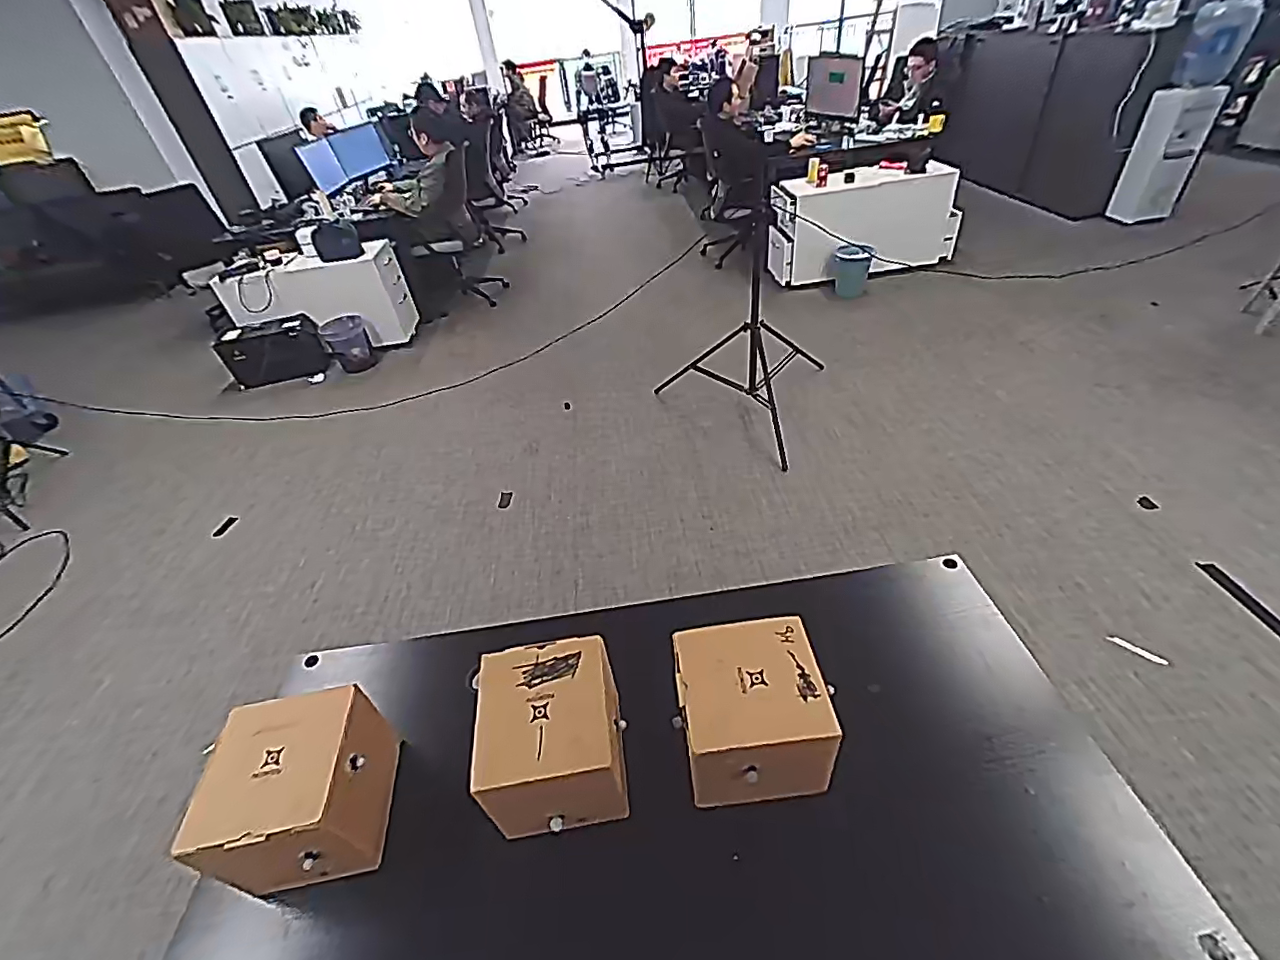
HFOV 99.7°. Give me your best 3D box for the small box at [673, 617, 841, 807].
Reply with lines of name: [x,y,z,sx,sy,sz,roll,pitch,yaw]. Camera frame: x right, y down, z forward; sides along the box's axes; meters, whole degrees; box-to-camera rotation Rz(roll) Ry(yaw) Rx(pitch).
small box: [0.147,0.309,0.716,0.179,0.176,0.168,-8,40,1]

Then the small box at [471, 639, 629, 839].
small box: [-0.111,0.342,0.720,0.168,0.176,0.179,-9,41,-1]

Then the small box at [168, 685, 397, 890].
small box: [-0.438,0.403,0.704,0.168,0.176,0.179,-10,39,-4]
